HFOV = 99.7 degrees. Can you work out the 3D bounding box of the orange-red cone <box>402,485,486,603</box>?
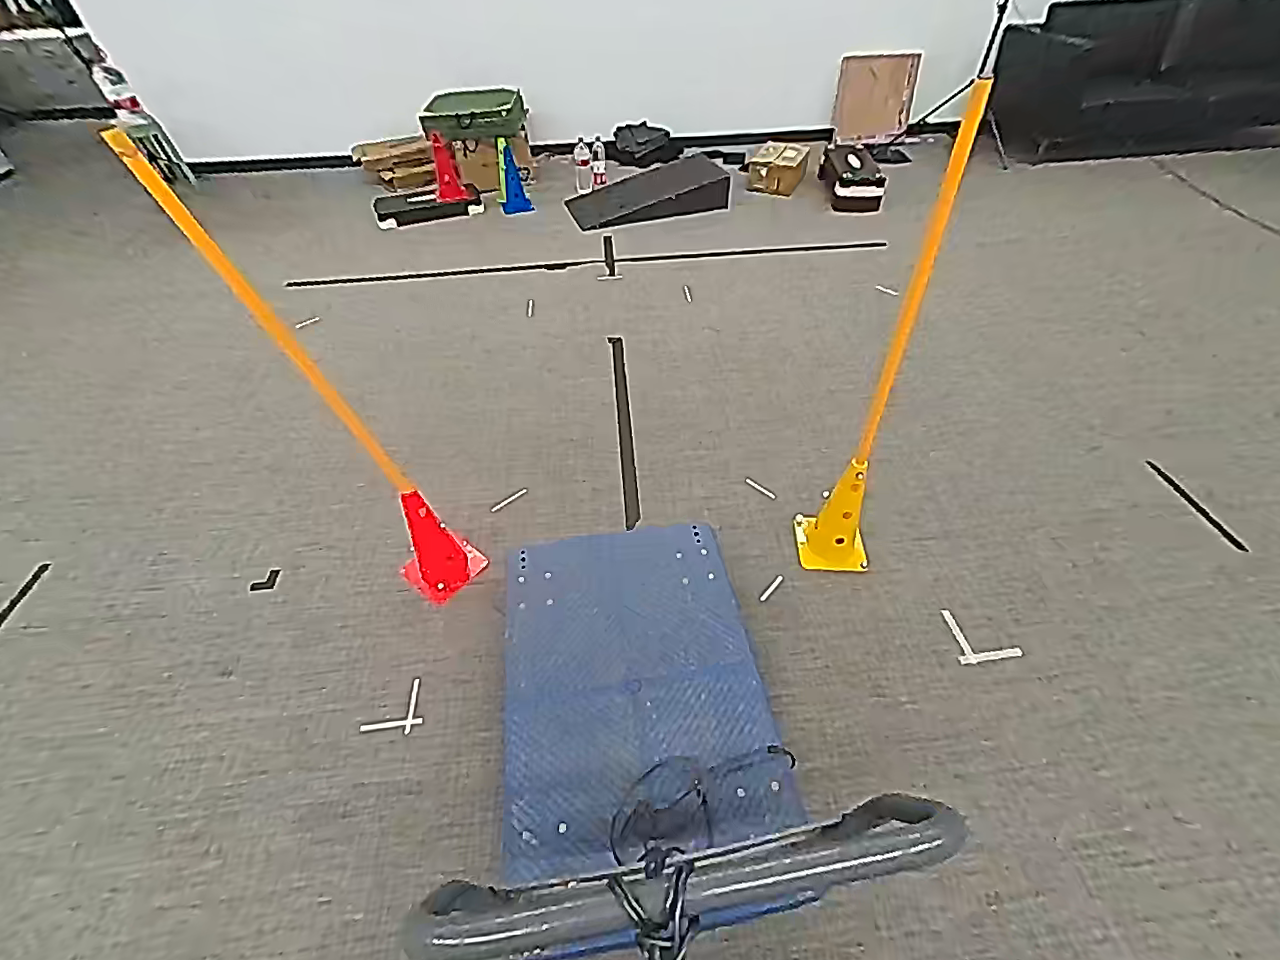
[{"bbox_3d":[-0.595,0.146,1.521,0.198,0.360,0.199,31,54,26],"label":"orange-red cone"}]
